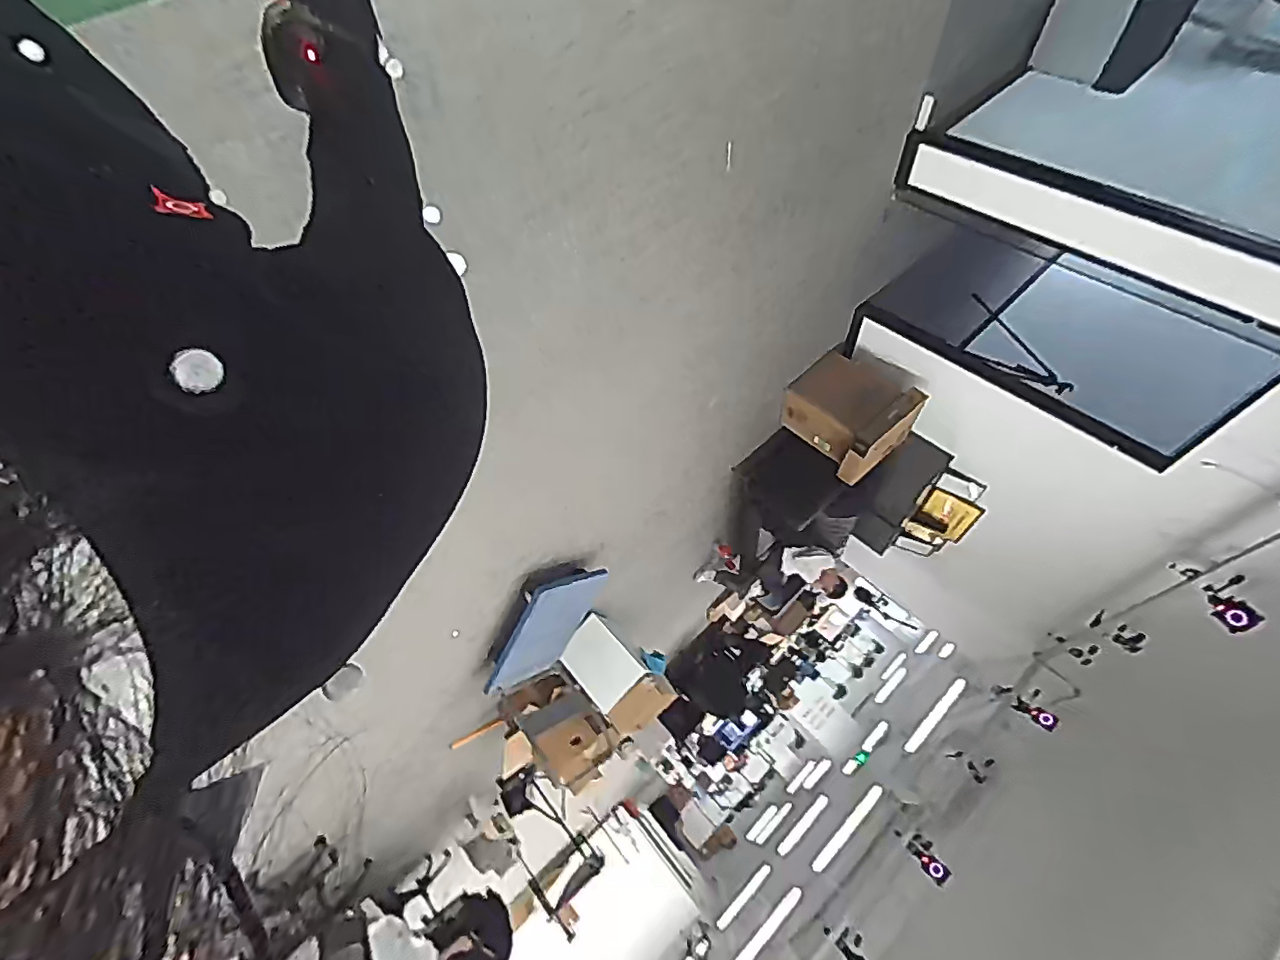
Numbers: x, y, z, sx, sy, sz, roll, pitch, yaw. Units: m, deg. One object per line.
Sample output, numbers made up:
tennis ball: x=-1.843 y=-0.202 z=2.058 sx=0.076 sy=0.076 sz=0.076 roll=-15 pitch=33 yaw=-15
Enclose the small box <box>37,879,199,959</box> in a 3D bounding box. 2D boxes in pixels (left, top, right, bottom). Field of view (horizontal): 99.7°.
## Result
small box: x=-1.109 y=0.995 z=1.151 sx=0.168 sy=0.176 sz=0.179 roll=-40 pitch=153 yaw=-16
